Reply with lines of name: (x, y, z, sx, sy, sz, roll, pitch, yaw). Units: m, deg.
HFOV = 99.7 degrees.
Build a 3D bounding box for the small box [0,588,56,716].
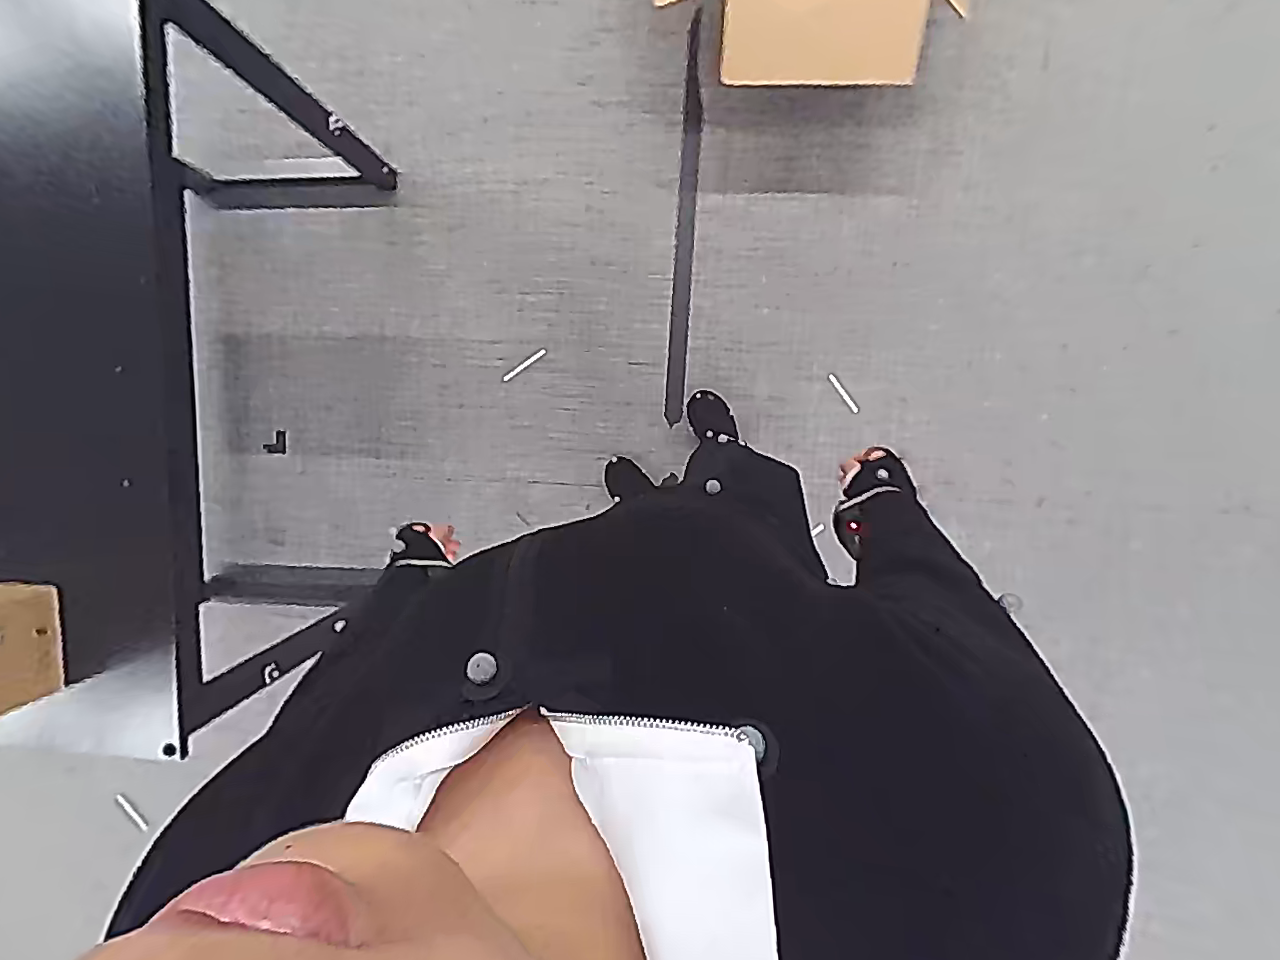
small box: (-0.979, 0.251, 0.755, 0.179, 0.176, 0.168, 1, 94, 4)
